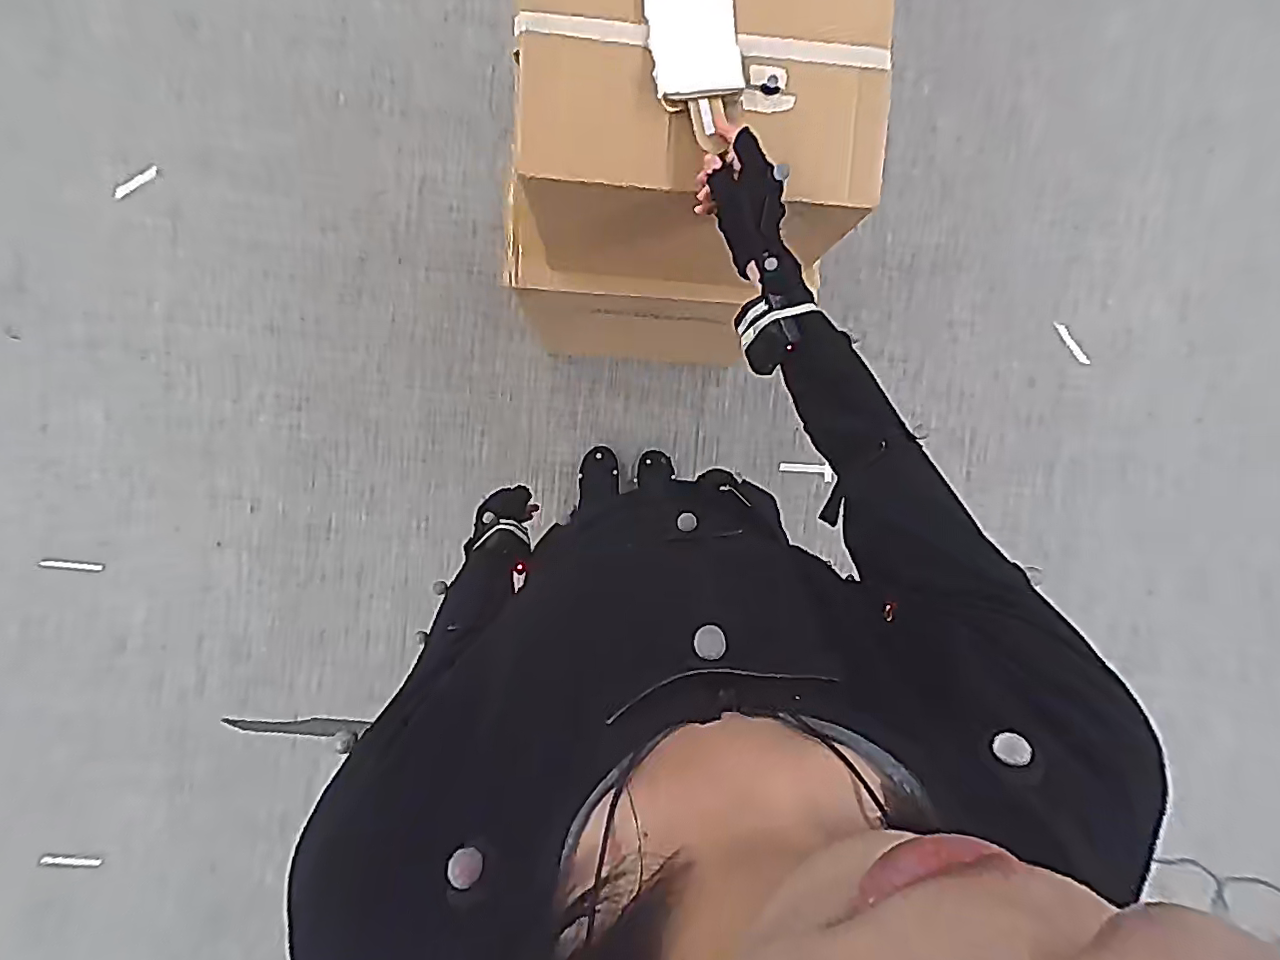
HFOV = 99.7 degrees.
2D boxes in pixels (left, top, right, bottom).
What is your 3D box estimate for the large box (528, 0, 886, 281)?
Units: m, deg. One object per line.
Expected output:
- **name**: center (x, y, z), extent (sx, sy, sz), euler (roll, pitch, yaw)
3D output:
- **large box**: center (0.065, -0.487, 0.751), extent (0.408, 0.320, 0.320), euler (3, 93, -5)
